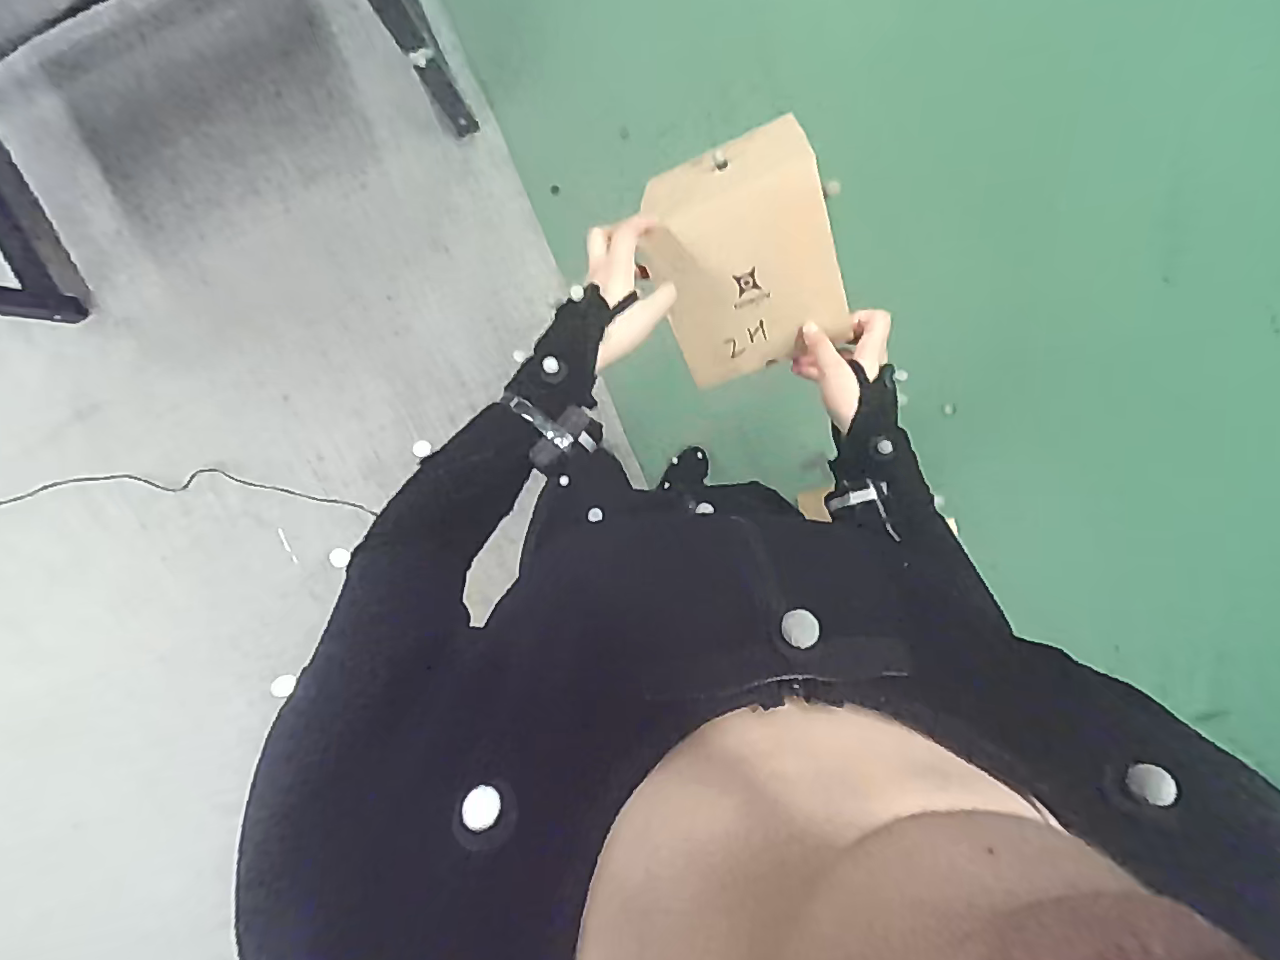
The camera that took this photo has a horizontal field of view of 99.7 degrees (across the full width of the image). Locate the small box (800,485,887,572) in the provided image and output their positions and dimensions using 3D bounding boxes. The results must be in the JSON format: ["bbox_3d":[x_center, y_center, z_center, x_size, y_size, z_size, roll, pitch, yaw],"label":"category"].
[{"bbox_3d":[0.533,0.122,1.420,0.179,0.176,0.168,-15,99,1],"label":"small box"}]

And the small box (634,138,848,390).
[{"bbox_3d":[0.107,-0.231,0.572,0.168,0.176,0.179,-15,131,21],"label":"small box"}]
